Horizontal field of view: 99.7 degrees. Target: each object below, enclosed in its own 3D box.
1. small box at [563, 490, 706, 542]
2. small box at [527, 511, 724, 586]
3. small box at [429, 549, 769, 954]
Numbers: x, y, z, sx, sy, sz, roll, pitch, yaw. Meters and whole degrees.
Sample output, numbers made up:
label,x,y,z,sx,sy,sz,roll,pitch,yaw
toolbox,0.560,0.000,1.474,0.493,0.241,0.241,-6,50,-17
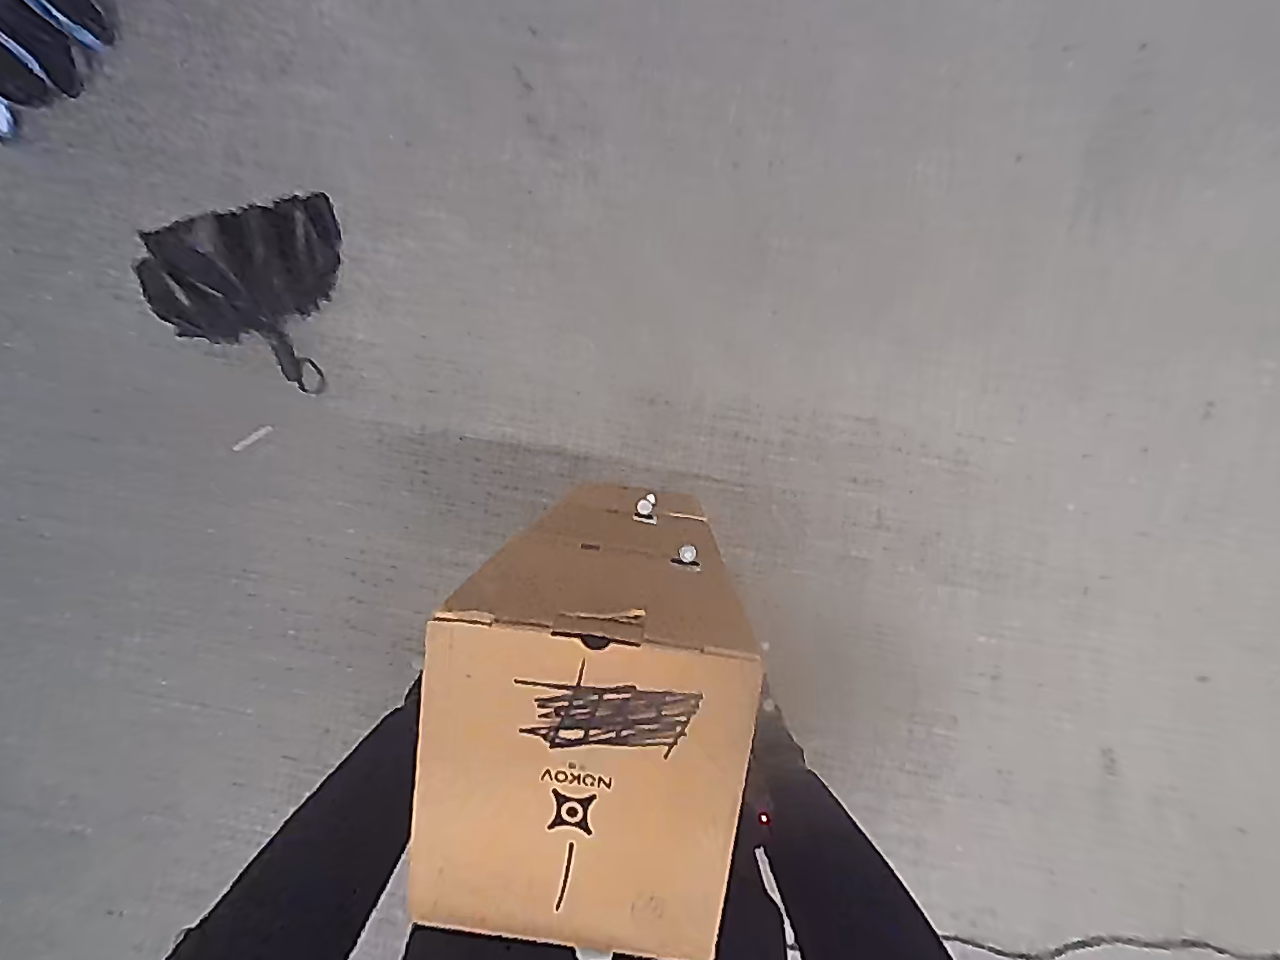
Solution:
label,x,y,z,sx,sy,sz,roll,pitch,yaw
small box,-0.013,0.118,0.691,0.168,0.176,0.179,7,97,1
small box,-0.018,0.137,0.529,0.168,0.176,0.179,7,95,1
small box,-0.023,0.155,0.366,0.168,0.176,0.179,7,98,1
